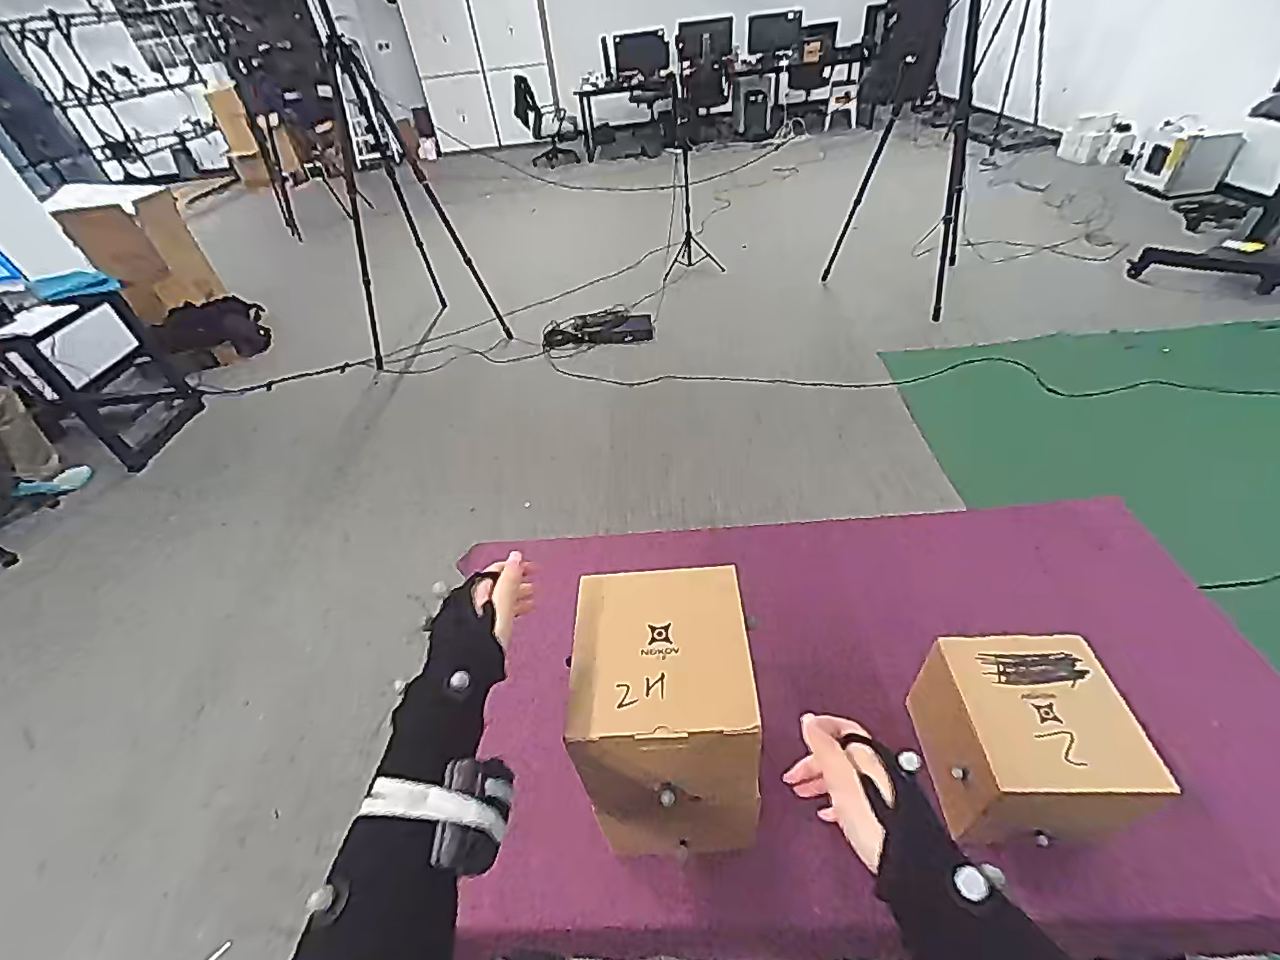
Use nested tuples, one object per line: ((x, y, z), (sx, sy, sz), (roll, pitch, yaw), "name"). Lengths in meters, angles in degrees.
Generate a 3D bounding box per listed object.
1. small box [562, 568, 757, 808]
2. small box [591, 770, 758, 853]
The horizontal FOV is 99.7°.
((0.023, 0.215, 0.563), (0.168, 0.176, 0.179), (-5, 42, 4), "small box")
((0.039, 0.341, 0.669), (0.179, 0.176, 0.168), (-5, 41, 2), "small box")
